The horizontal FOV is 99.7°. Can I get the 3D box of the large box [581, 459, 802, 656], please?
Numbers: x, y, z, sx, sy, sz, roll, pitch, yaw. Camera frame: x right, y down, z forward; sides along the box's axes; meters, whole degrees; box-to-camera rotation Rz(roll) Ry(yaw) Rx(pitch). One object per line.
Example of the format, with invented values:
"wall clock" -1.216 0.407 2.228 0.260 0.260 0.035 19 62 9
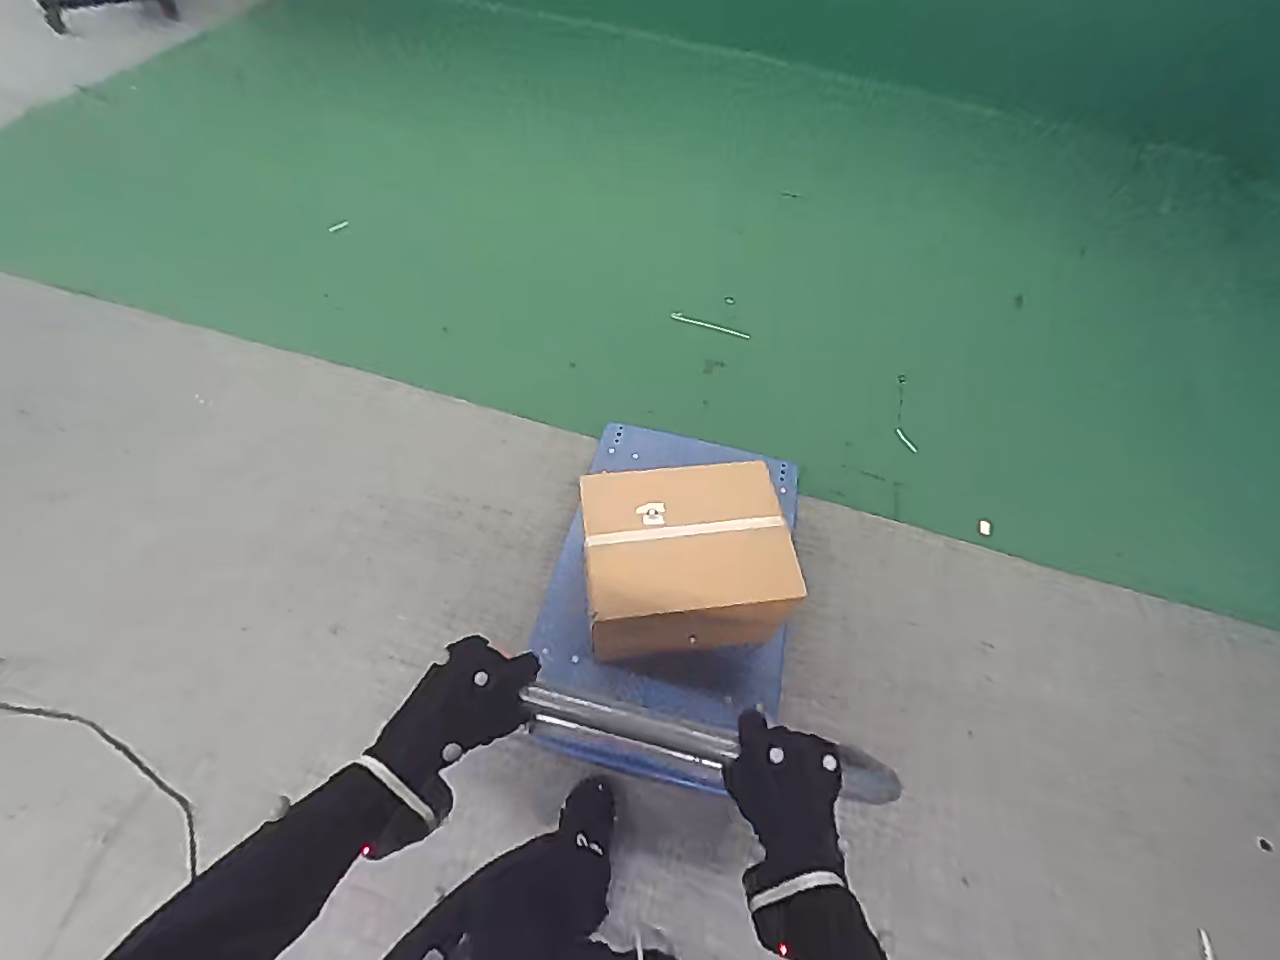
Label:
"large box" 0.087 0.181 1.211 0.408 0.320 0.320 -6 58 -7
